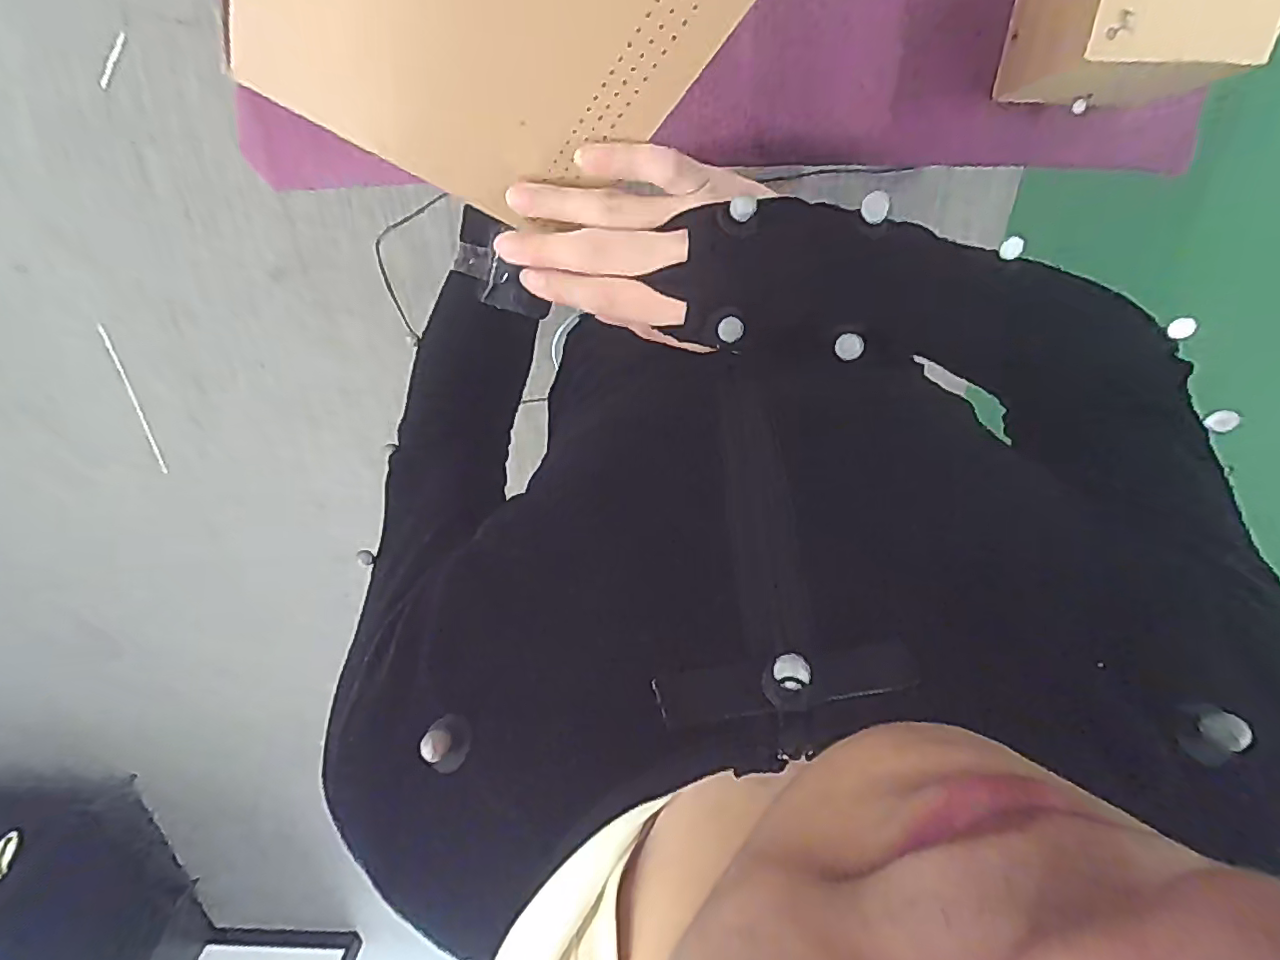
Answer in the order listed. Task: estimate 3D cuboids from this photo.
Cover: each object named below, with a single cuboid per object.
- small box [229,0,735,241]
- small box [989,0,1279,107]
[{"bbox_3d":[-0.059,-0.254,0.245,0.176,0.168,0.179,18,154,-31],"label":"small box"},{"bbox_3d":[0.518,-0.509,0.566,0.179,0.176,0.168,3,113,1],"label":"small box"}]
